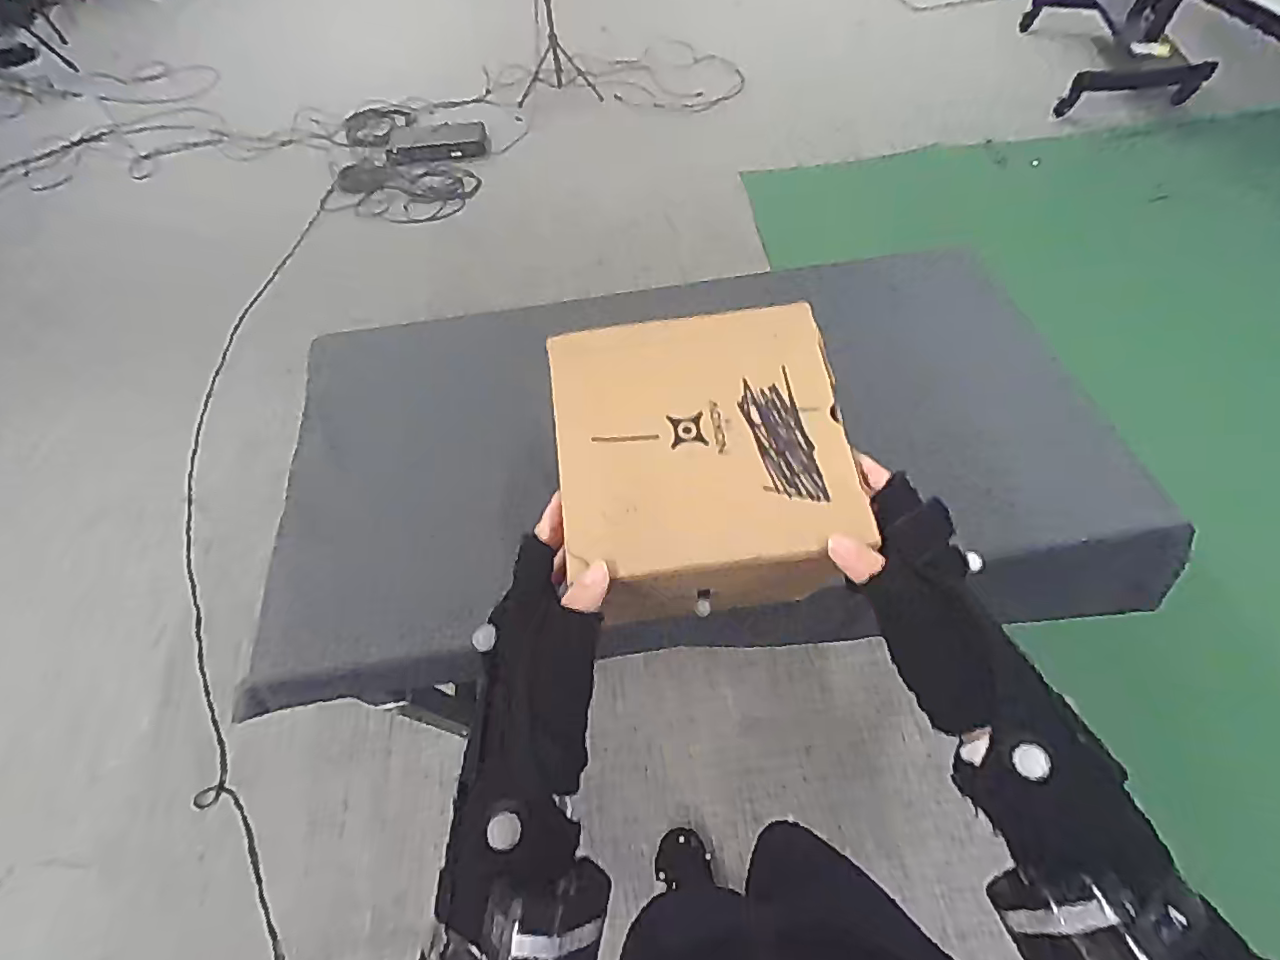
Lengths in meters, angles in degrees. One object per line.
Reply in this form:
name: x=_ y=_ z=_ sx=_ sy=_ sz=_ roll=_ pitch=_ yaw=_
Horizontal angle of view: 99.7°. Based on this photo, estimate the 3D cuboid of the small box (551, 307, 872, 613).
small box: x=0.037 y=-0.001 z=0.401 sx=0.179 sy=0.176 sz=0.168 roll=-7 pitch=69 yaw=-2
